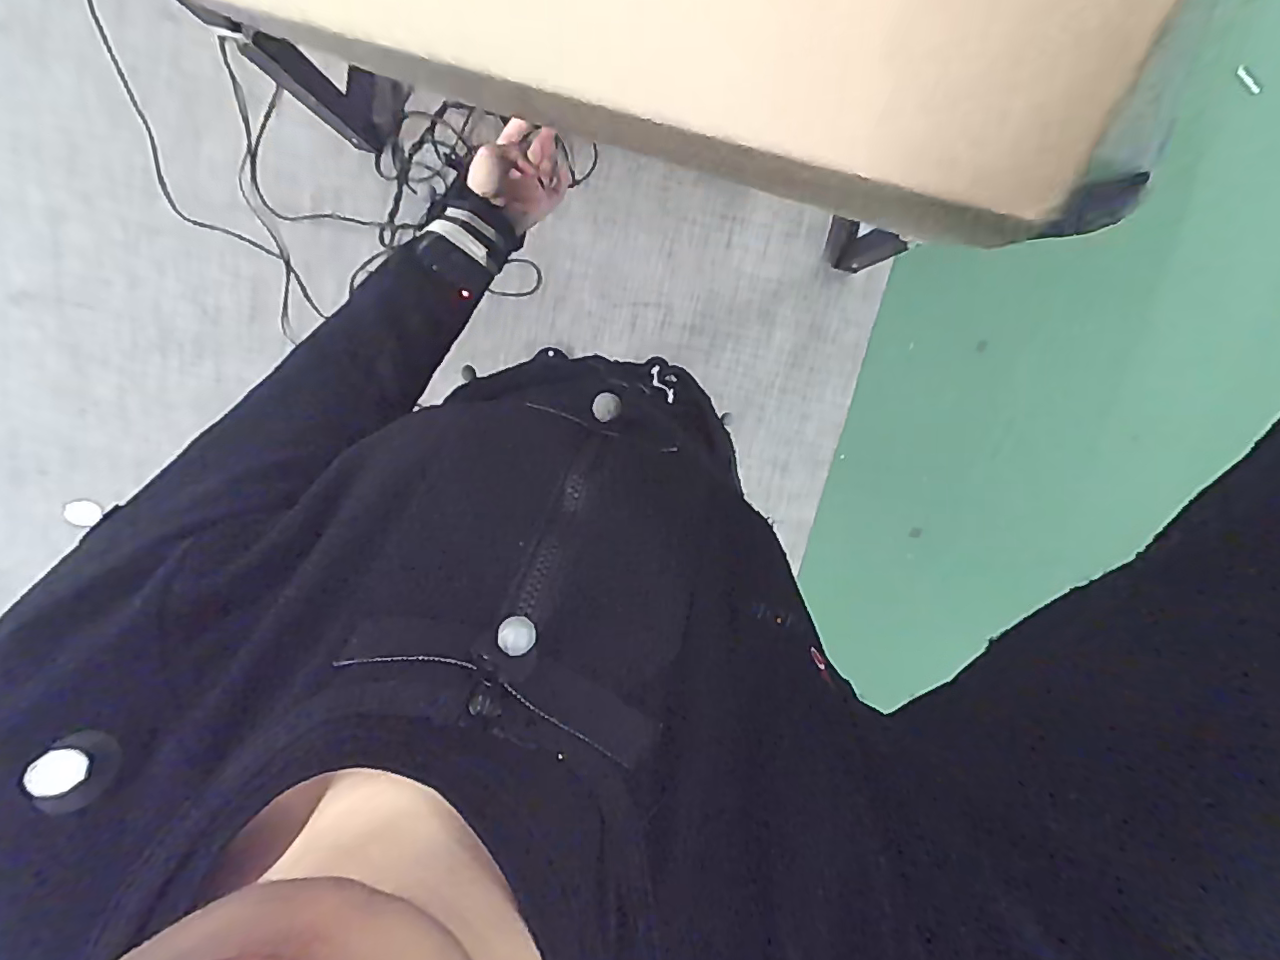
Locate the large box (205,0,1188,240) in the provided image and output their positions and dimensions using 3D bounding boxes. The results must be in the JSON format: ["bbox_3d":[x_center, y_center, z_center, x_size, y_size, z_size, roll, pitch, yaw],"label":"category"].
[{"bbox_3d":[0.048,-0.336,0.277,0.408,0.320,0.320,23,119,14],"label":"large box"}]
